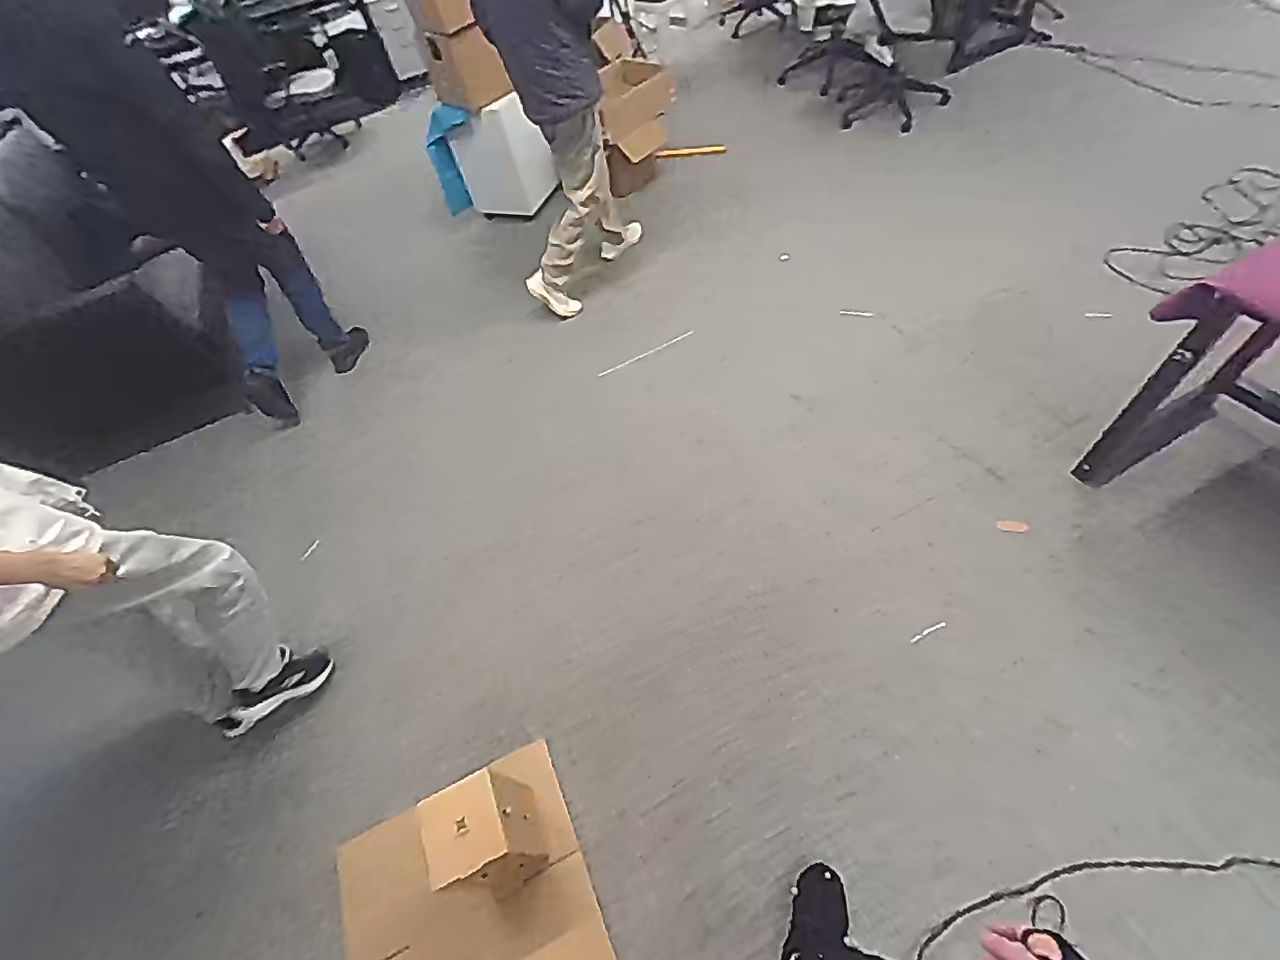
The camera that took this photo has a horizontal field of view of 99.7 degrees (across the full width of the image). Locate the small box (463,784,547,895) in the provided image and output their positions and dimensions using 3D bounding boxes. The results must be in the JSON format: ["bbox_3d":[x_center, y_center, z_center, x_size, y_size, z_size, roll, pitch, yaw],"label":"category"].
[{"bbox_3d":[-0.344,0.879,1.329,0.168,0.176,0.179,-24,54,-8],"label":"small box"}]

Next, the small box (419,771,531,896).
[{"bbox_3d":[-0.362,0.784,1.200,0.168,0.176,0.179,-25,56,-8],"label":"small box"}]
